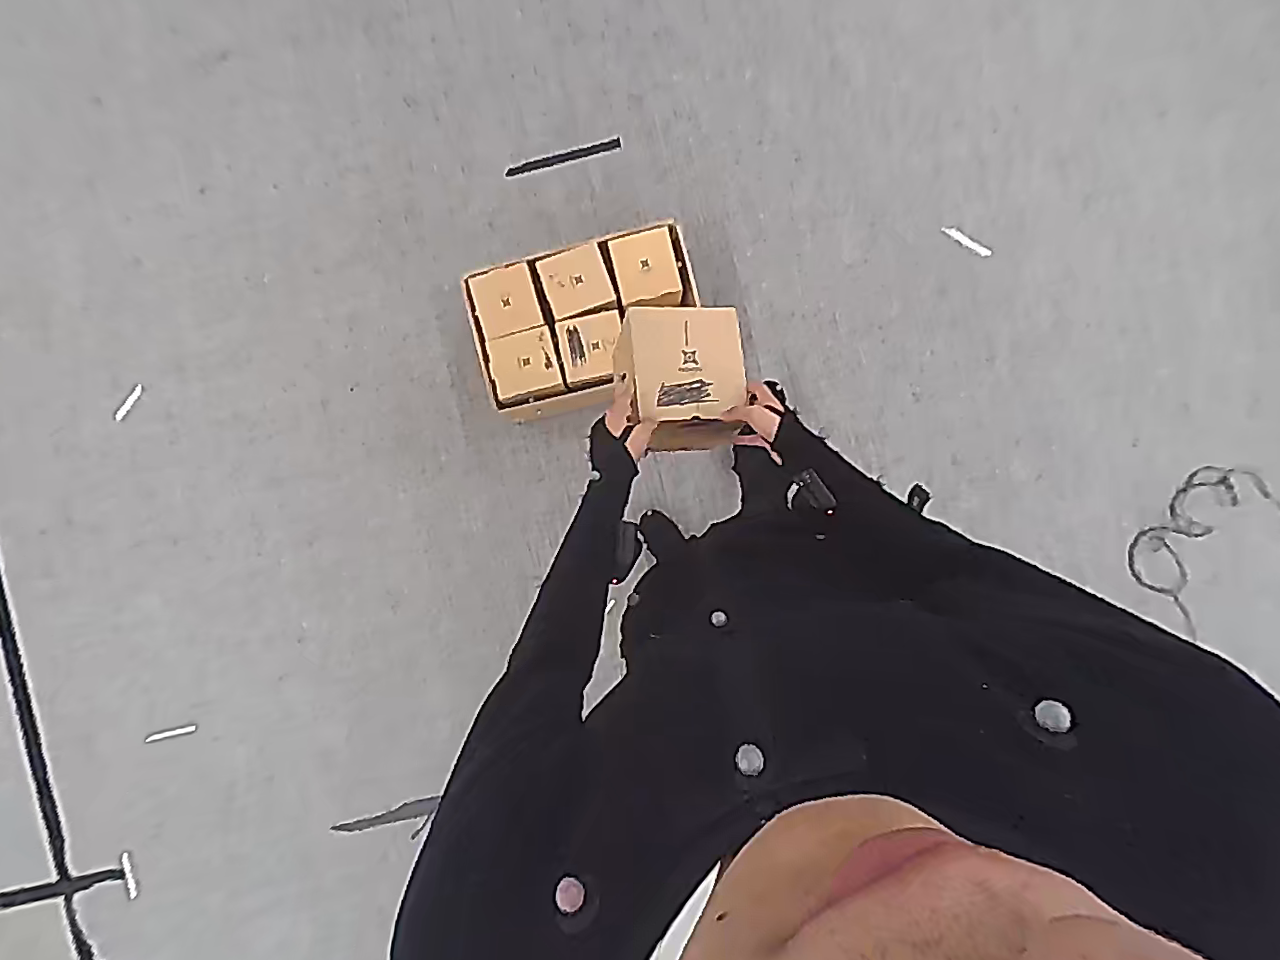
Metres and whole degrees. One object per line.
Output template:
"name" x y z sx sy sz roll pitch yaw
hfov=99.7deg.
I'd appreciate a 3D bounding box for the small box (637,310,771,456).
"small box" 0.090 -0.138 0.838 0.168 0.176 0.179 1 78 -11
